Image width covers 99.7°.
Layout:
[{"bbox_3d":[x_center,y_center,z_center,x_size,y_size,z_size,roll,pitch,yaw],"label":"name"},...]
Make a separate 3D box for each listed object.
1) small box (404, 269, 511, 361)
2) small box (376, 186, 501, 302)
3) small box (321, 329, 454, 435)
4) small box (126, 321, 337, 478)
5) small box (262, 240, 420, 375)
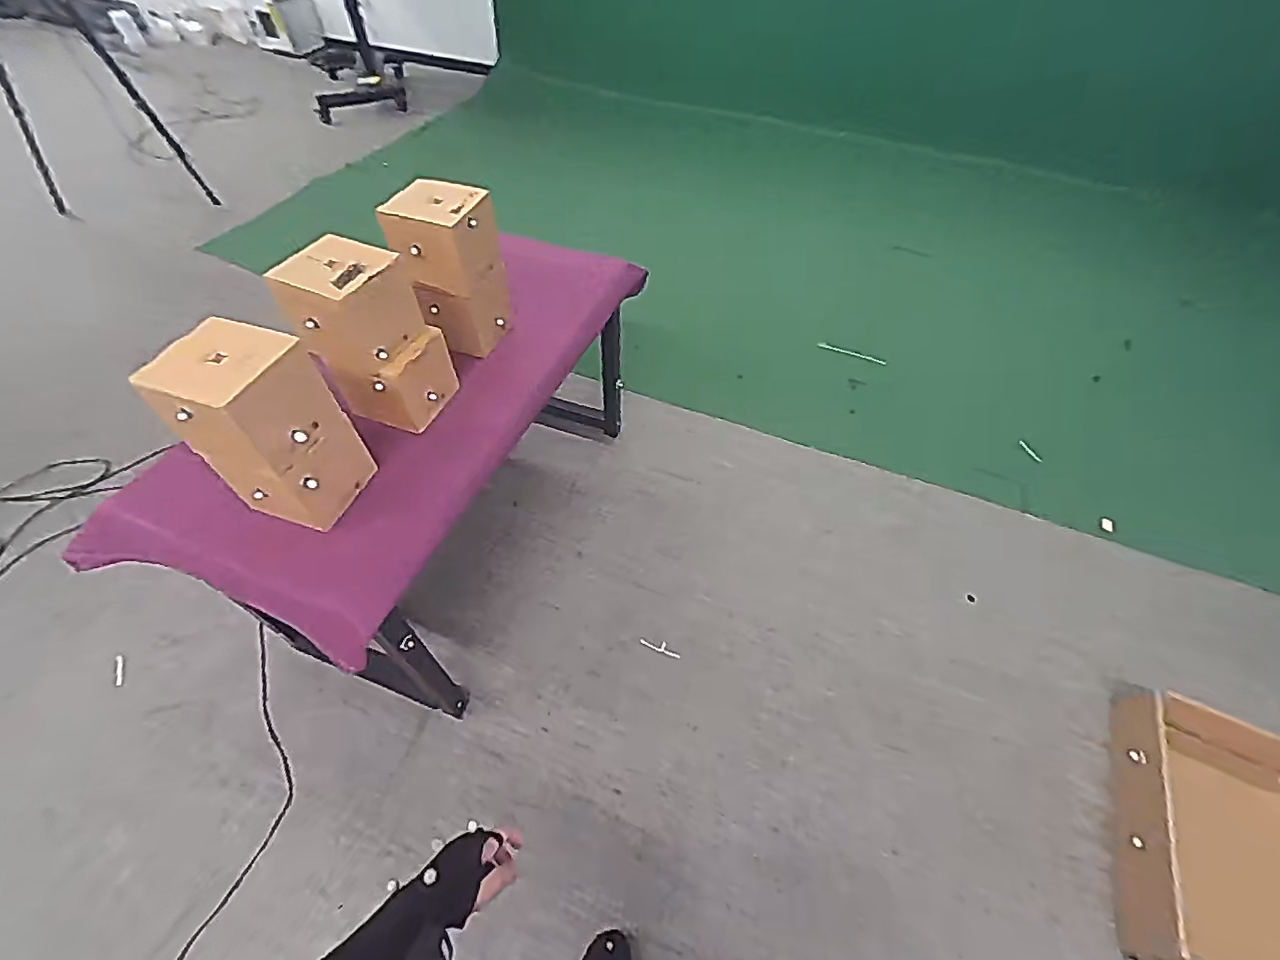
[{"bbox_3d":[-0.437,-0.415,1.320,0.179,0.176,0.168,16,53,10],"label":"small box"},{"bbox_3d":[-0.433,-0.517,1.192,0.179,0.176,0.168,14,53,10],"label":"small box"},{"bbox_3d":[-0.532,-0.221,1.166,0.179,0.176,0.168,17,53,10],"label":"small box"},{"bbox_3d":[-0.641,-0.126,0.875,0.179,0.176,0.168,16,53,10],"label":"small box"},{"bbox_3d":[-0.557,-0.327,1.039,0.179,0.176,0.168,20,53,13],"label":"small box"}]
